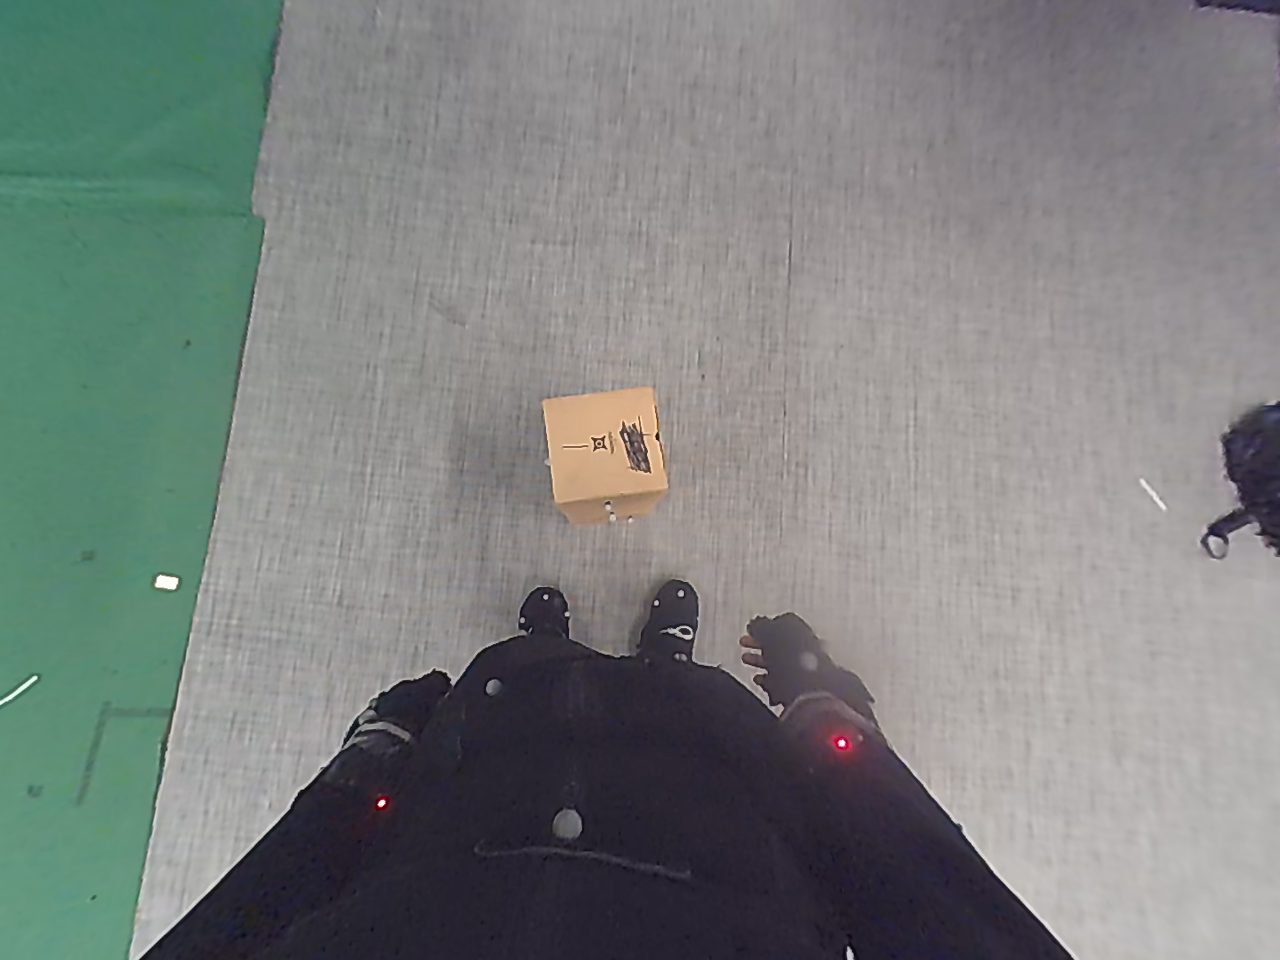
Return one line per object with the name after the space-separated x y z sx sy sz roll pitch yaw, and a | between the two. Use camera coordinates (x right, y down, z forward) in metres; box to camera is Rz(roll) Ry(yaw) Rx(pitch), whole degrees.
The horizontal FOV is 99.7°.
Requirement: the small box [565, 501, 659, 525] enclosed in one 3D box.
-0.069 -0.007 1.076 0.179 0.176 0.168 -11 83 -4 | small box

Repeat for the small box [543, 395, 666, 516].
-0.060 -0.034 0.912 0.179 0.176 0.168 -7 81 -3 | small box

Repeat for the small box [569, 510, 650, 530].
-0.078 0.020 1.235 0.179 0.176 0.168 -9 81 -3 | small box
